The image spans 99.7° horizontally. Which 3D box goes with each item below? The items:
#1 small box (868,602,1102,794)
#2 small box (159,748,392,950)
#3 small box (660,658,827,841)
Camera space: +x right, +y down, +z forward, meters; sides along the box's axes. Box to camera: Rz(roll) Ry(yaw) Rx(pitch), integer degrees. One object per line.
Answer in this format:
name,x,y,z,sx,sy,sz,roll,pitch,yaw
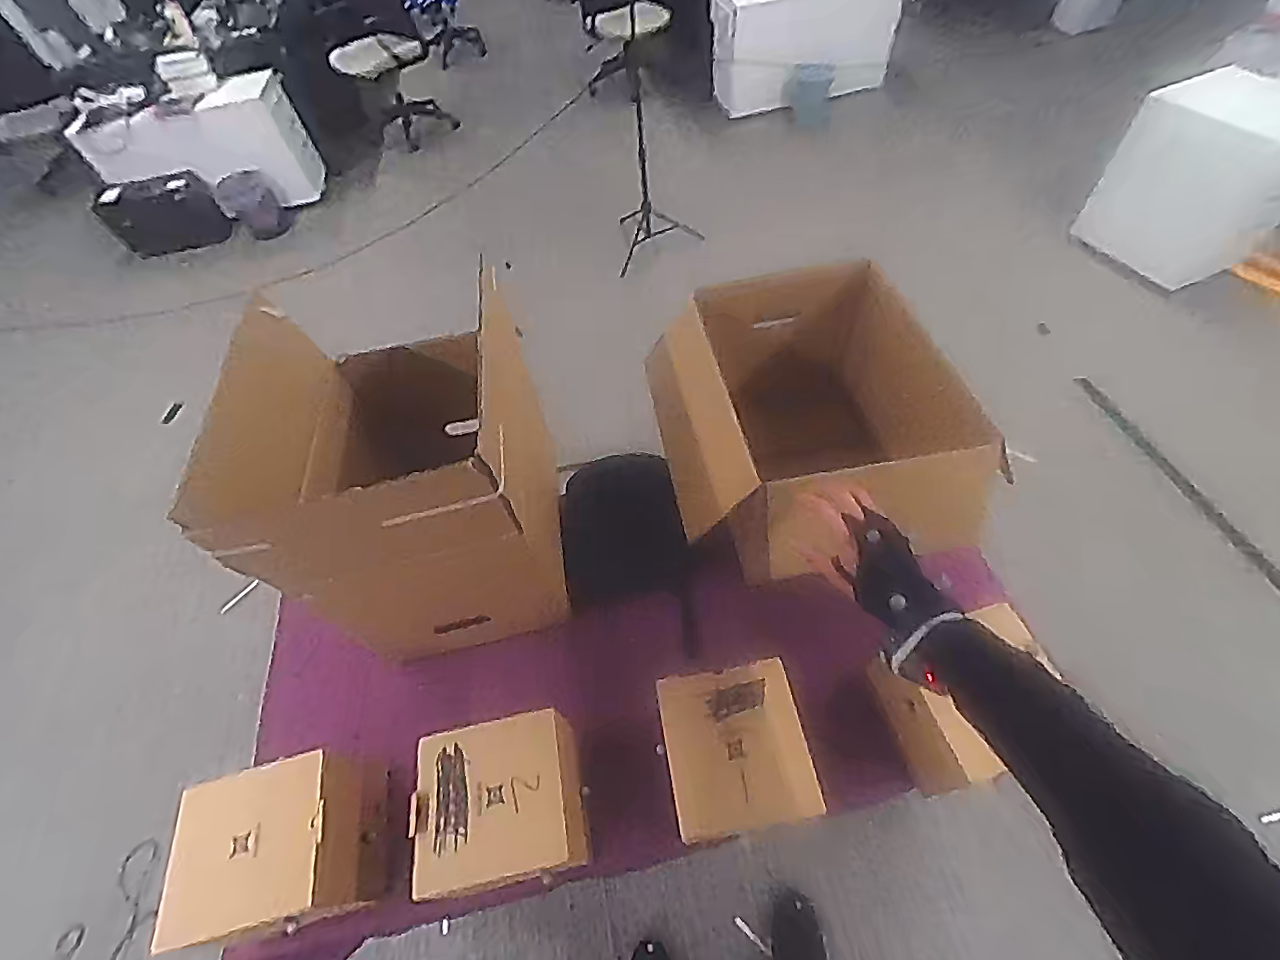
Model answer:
small box,0.428,0.290,0.713,0.168,0.176,0.179,-16,55,-3
small box,-0.447,0.471,0.697,0.179,0.176,0.168,-15,55,-5
small box,0.122,0.355,0.707,0.168,0.176,0.179,-10,55,0
